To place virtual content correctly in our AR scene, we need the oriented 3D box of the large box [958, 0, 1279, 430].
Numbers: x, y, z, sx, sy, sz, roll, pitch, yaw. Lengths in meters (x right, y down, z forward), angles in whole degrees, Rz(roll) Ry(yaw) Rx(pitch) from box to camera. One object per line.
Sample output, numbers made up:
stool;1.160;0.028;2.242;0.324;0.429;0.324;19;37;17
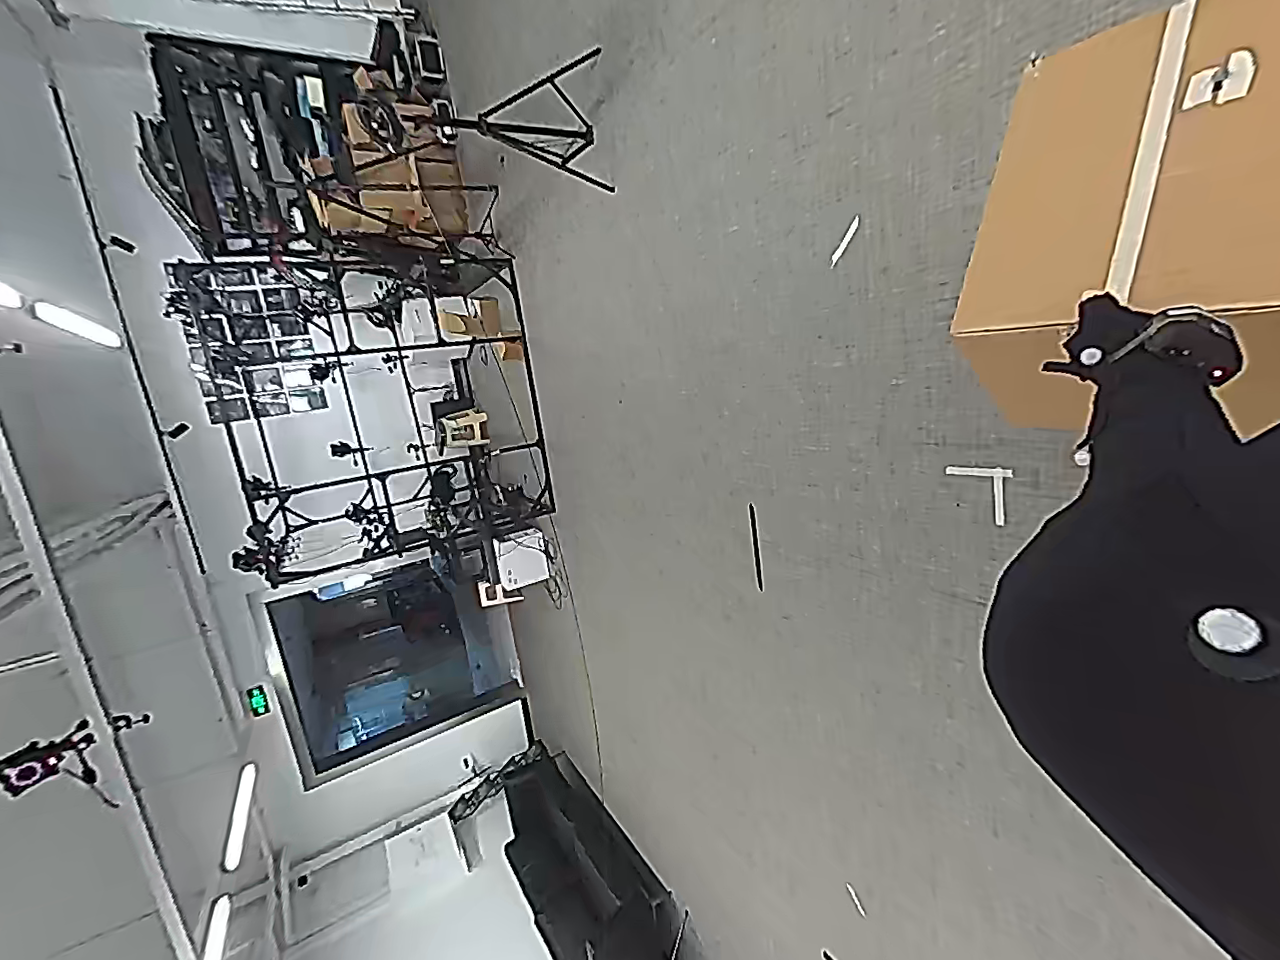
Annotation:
large box;0.669;-0.305;0.691;0.320;0.320;0.408;11;79;51
